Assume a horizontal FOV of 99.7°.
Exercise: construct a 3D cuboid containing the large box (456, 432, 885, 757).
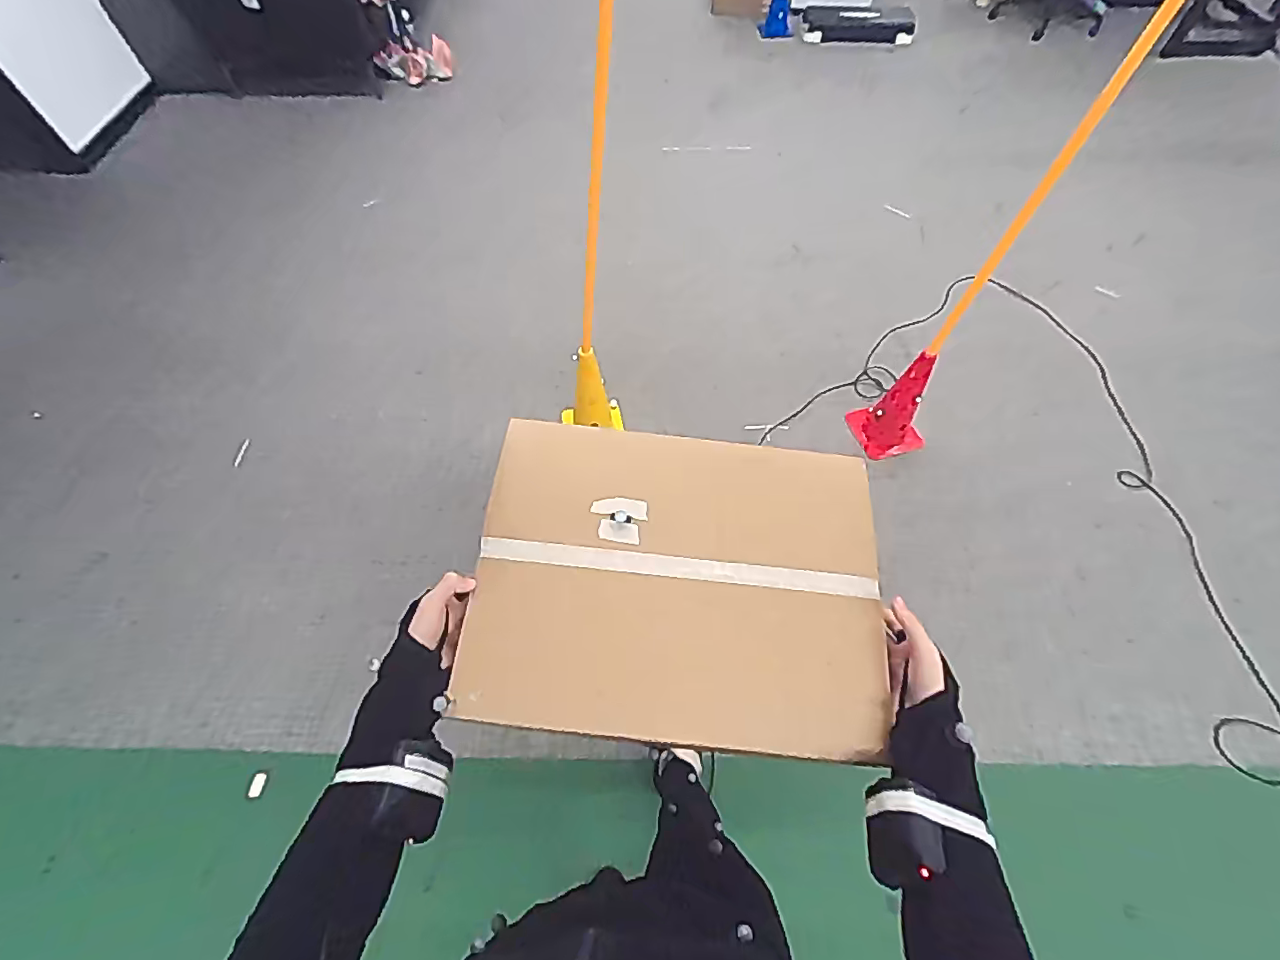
[{"bbox_3d":[0.036,0.162,0.692,0.408,0.320,0.320,6,63,0],"label":"large box"}]
